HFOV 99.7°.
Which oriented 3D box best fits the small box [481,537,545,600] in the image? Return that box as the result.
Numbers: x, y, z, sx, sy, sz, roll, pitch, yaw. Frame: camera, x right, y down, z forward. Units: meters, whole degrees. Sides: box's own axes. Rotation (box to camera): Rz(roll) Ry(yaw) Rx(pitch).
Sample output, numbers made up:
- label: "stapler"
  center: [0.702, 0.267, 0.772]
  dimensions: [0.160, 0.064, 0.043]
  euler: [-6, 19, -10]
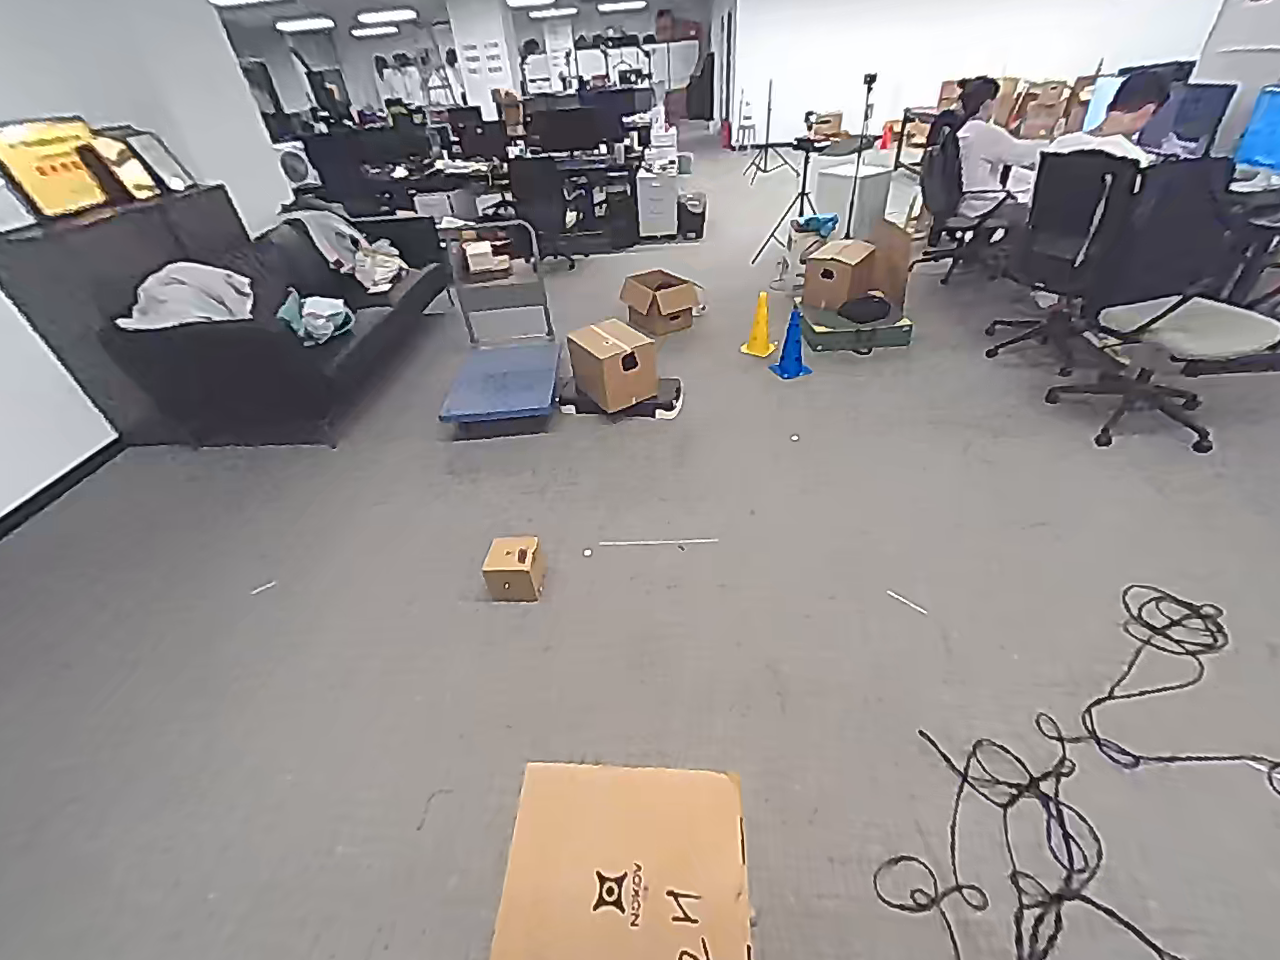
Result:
- label: "small box"
  center: [-0.457, 0.327, 1.981]
  dimensions: [0.179, 0.176, 0.168]
  euler: [-1, 38, 6]

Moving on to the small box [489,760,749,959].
- label: "small box"
  center: [-0.006, 0.343, 0.440]
  dimensions: [0.179, 0.176, 0.168]
  euler: [0, 49, 6]
